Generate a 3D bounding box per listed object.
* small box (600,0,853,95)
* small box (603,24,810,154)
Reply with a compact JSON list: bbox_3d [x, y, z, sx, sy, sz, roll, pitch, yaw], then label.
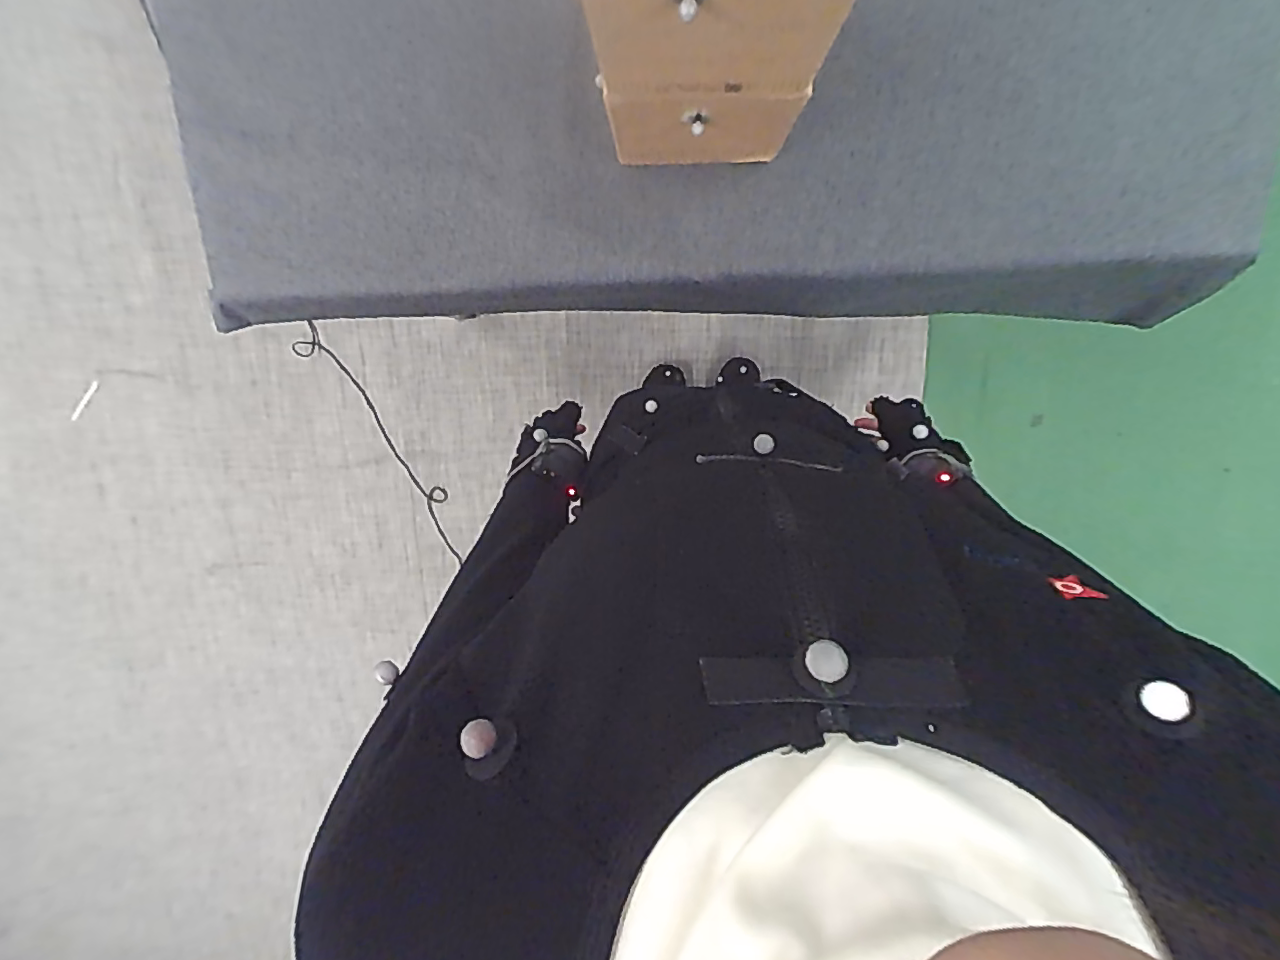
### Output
[{"bbox_3d":[0.054,-0.394,0.359,0.168,0.176,0.179,-1,105,3],"label":"small box"},{"bbox_3d":[0.060,-0.429,0.516,0.179,0.176,0.168,0,104,2],"label":"small box"}]
